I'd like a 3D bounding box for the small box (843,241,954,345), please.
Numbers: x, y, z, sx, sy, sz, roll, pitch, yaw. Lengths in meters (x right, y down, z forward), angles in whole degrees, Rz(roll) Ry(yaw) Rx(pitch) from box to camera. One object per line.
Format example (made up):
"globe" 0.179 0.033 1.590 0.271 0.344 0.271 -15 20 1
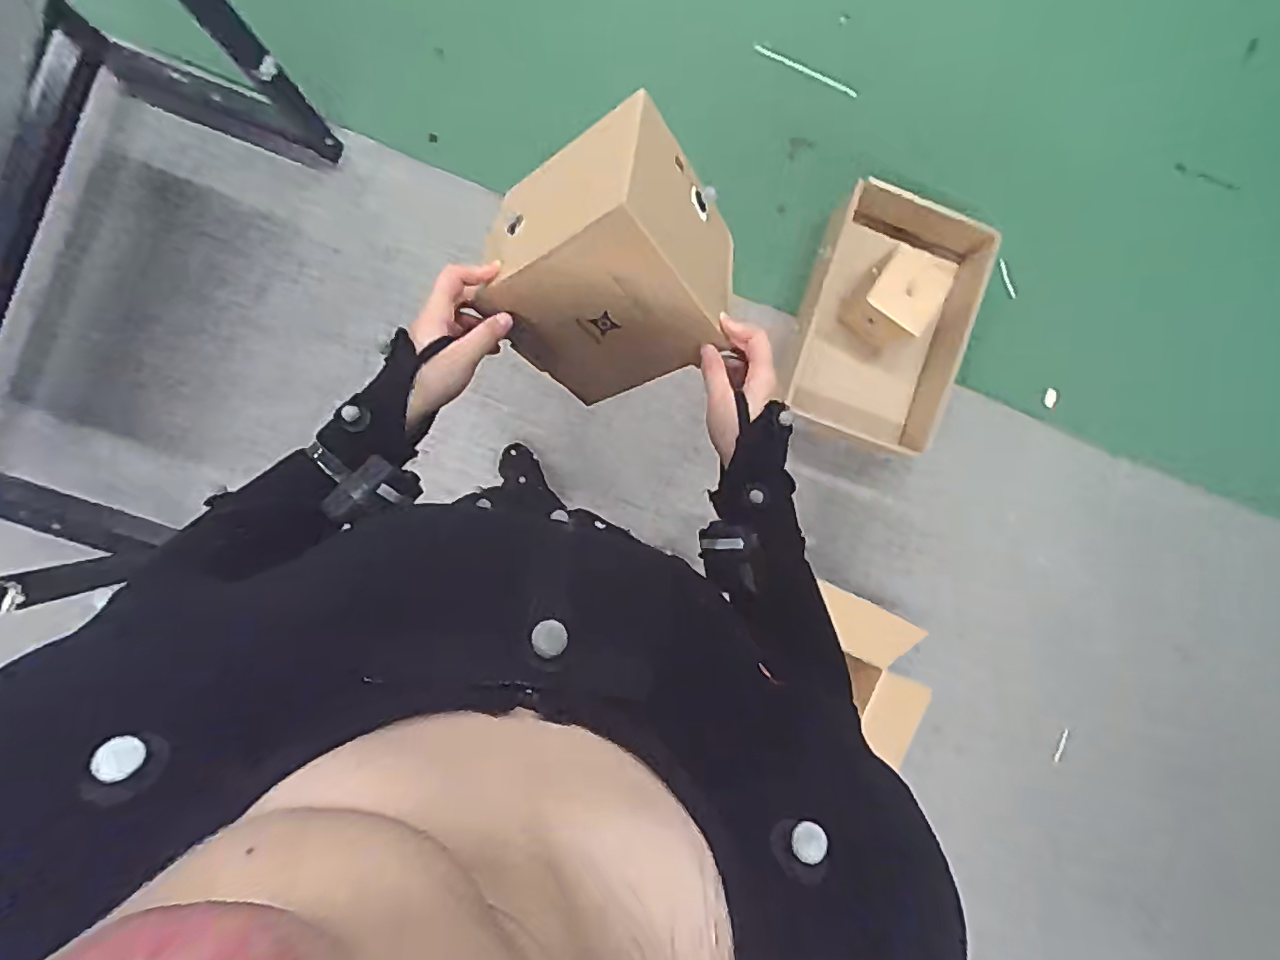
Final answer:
"small box" 0.663 -0.478 1.416 0.168 0.176 0.179 32 89 -6

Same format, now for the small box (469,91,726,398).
"small box" -0.030 -0.214 0.522 0.179 0.168 0.176 -19 53 33
